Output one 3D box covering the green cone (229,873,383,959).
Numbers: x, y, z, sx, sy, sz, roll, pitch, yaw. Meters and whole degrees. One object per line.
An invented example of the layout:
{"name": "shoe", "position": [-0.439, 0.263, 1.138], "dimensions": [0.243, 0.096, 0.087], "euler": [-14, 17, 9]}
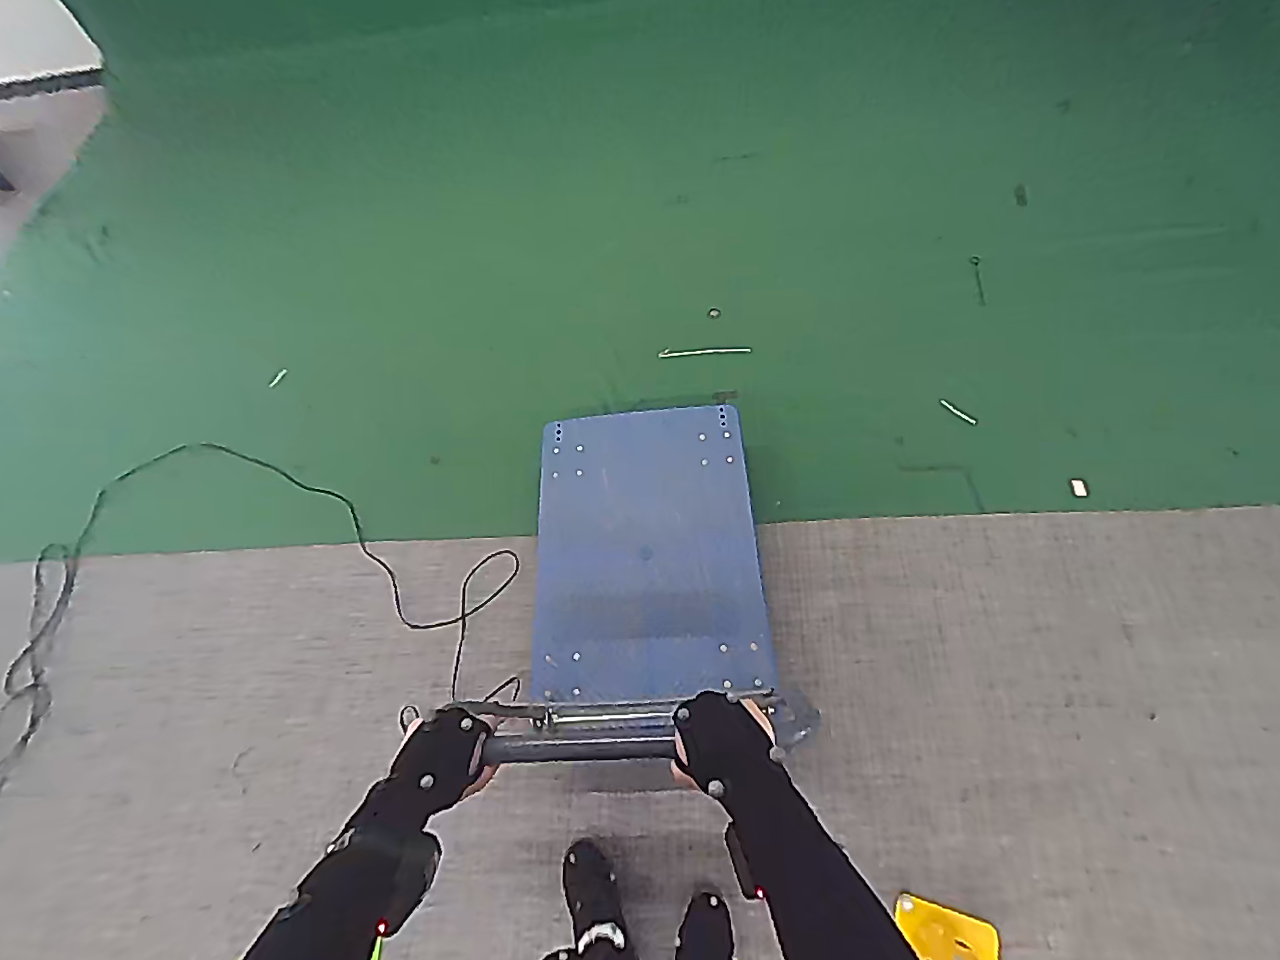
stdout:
{"name": "green cone", "position": [-0.727, 0.964, 1.107], "dimensions": [0.202, 0.368, 0.200], "euler": [-7, 63, 6]}
